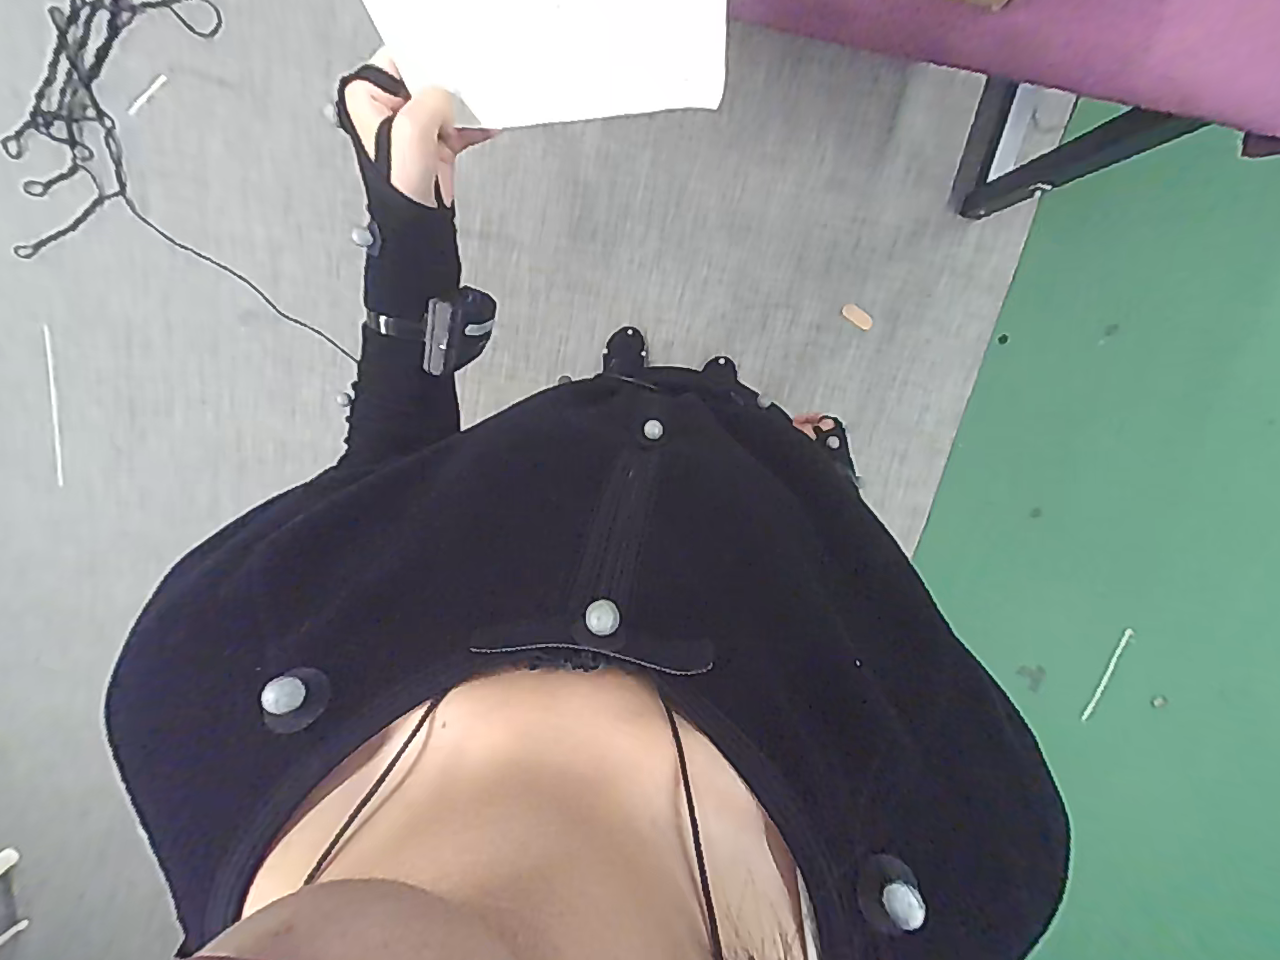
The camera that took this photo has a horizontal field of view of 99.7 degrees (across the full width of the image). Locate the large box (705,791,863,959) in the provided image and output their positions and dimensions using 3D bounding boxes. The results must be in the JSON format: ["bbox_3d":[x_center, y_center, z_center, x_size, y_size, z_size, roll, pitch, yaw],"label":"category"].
[{"bbox_3d":[0.411,1.188,1.634,0.408,0.320,0.320,-2,105,3],"label":"large box"}]

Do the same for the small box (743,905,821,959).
[{"bbox_3d":[0.369,1.247,1.398,0.179,0.176,0.168,2,102,4],"label":"small box"}]
